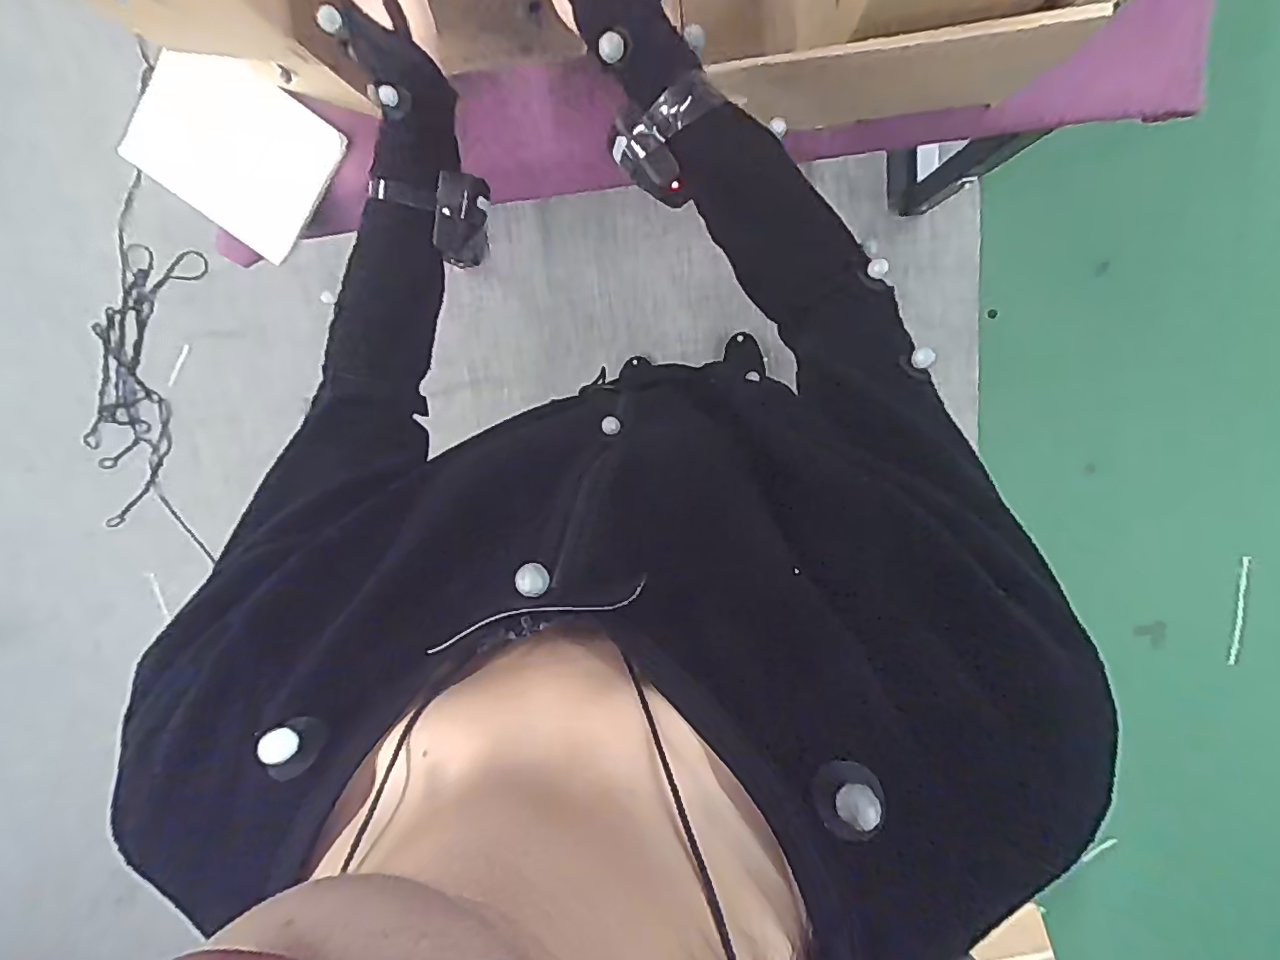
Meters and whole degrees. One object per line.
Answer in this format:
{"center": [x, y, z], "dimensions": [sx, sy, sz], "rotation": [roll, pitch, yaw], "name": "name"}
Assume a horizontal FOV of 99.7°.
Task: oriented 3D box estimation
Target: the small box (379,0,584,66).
{"center": [-0.140, -0.475, 0.441], "dimensions": [0.168, 0.176, 0.179], "rotation": [-10, 104, -3], "name": "small box"}

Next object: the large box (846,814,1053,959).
{"center": [0.865, 1.238, 1.538], "dimensions": [0.408, 0.320, 0.320], "rotation": [-20, 100, 8], "name": "large box"}

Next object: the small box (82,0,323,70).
{"center": [-0.396, -0.487, 0.460], "dimensions": [0.179, 0.176, 0.168], "rotation": [9, 103, 4], "name": "small box"}
